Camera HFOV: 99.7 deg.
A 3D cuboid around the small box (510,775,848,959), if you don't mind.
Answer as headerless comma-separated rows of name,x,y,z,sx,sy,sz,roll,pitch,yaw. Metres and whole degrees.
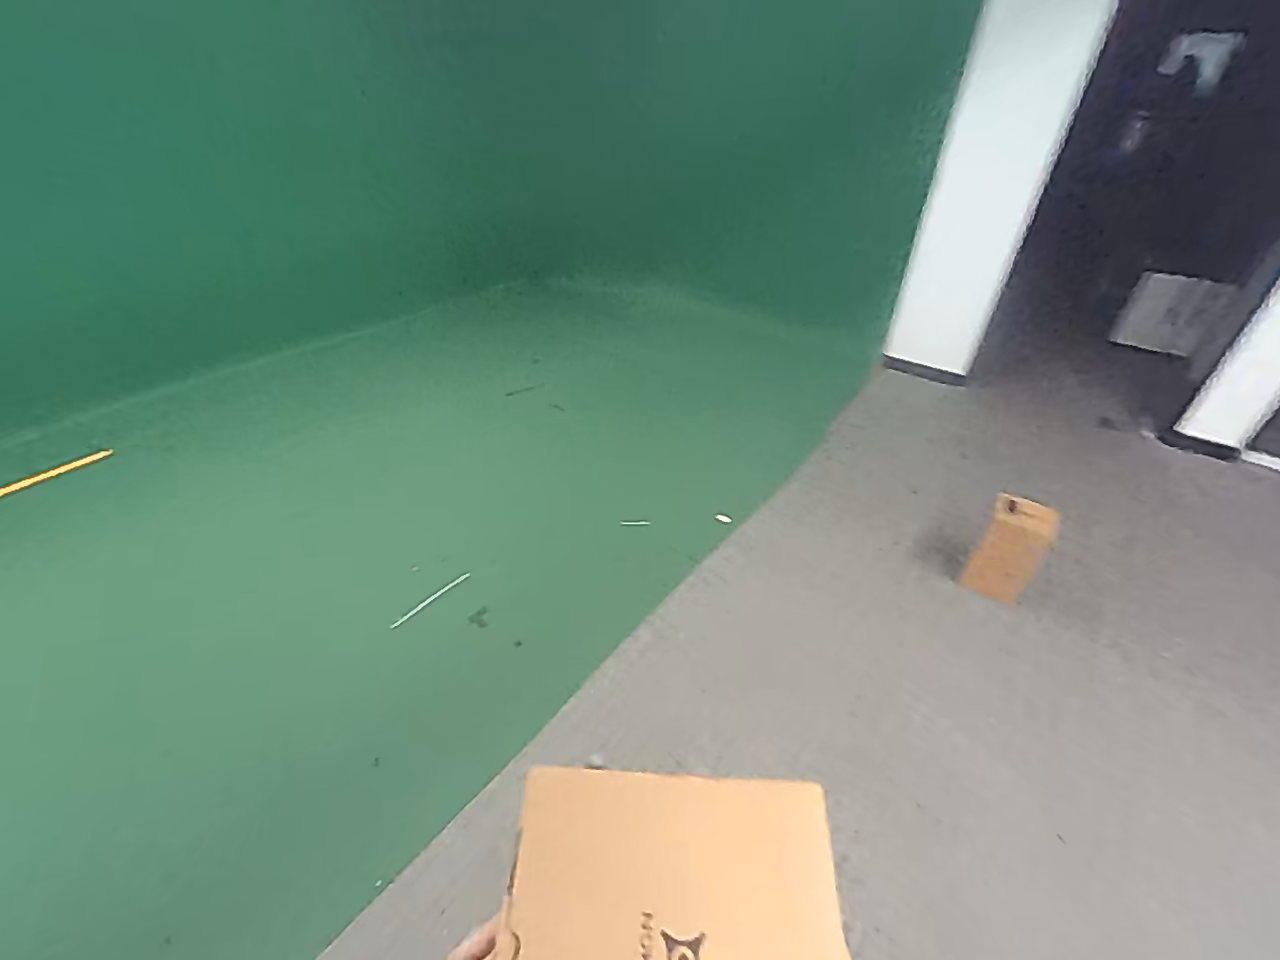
small box,0.018,0.293,0.337,0.179,0.176,0.168,2,52,0
